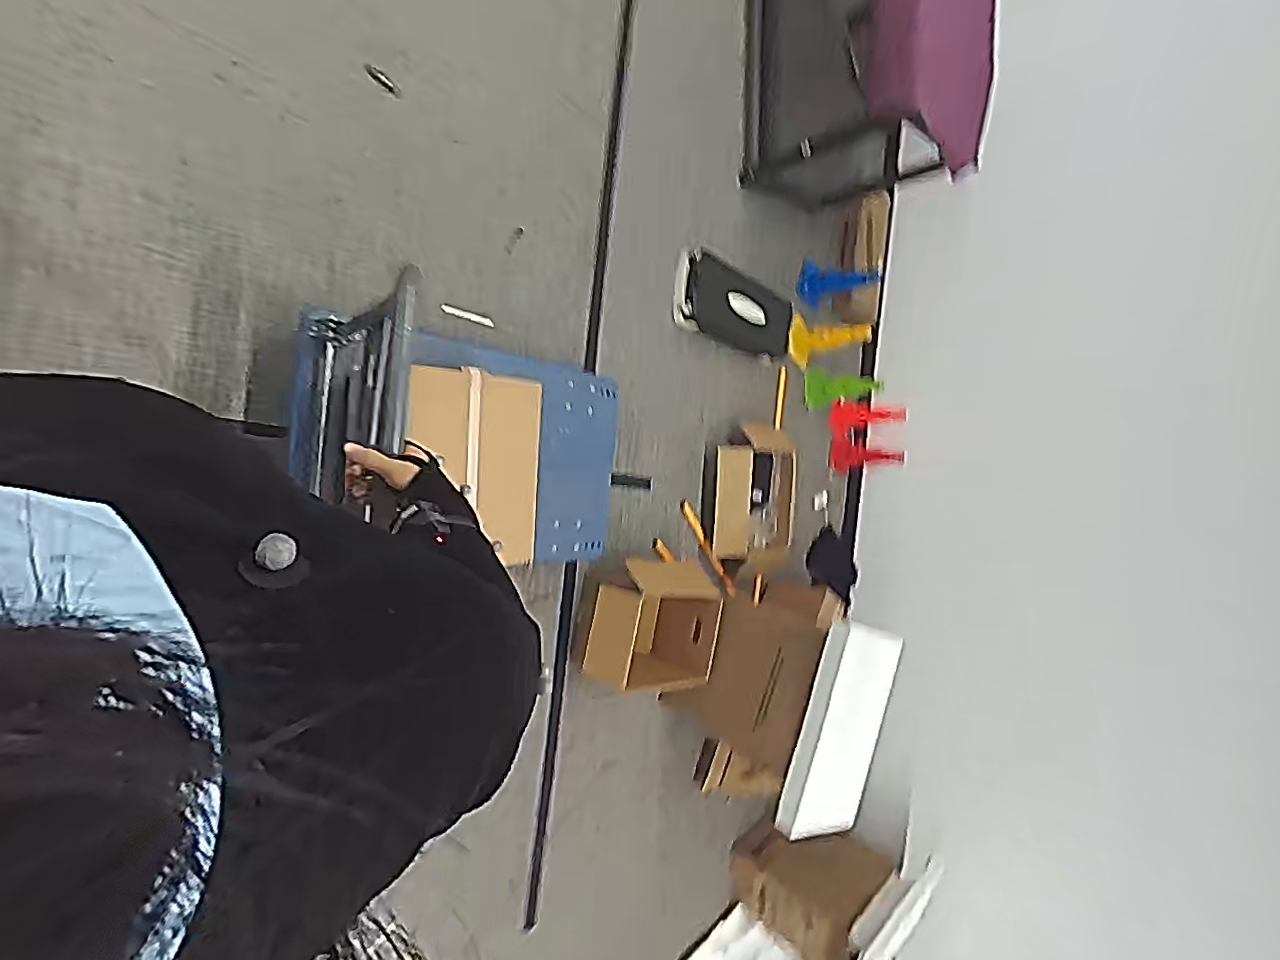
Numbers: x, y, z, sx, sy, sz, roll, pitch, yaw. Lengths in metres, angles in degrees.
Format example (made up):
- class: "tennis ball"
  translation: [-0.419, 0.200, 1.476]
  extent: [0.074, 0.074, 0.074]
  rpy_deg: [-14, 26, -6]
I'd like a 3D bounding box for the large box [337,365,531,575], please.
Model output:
- class: "large box"
  translation: [-0.467, -0.033, 1.210]
  extent: [0.320, 0.320, 0.408]
  rpy_deg: [1, 96, -42]
